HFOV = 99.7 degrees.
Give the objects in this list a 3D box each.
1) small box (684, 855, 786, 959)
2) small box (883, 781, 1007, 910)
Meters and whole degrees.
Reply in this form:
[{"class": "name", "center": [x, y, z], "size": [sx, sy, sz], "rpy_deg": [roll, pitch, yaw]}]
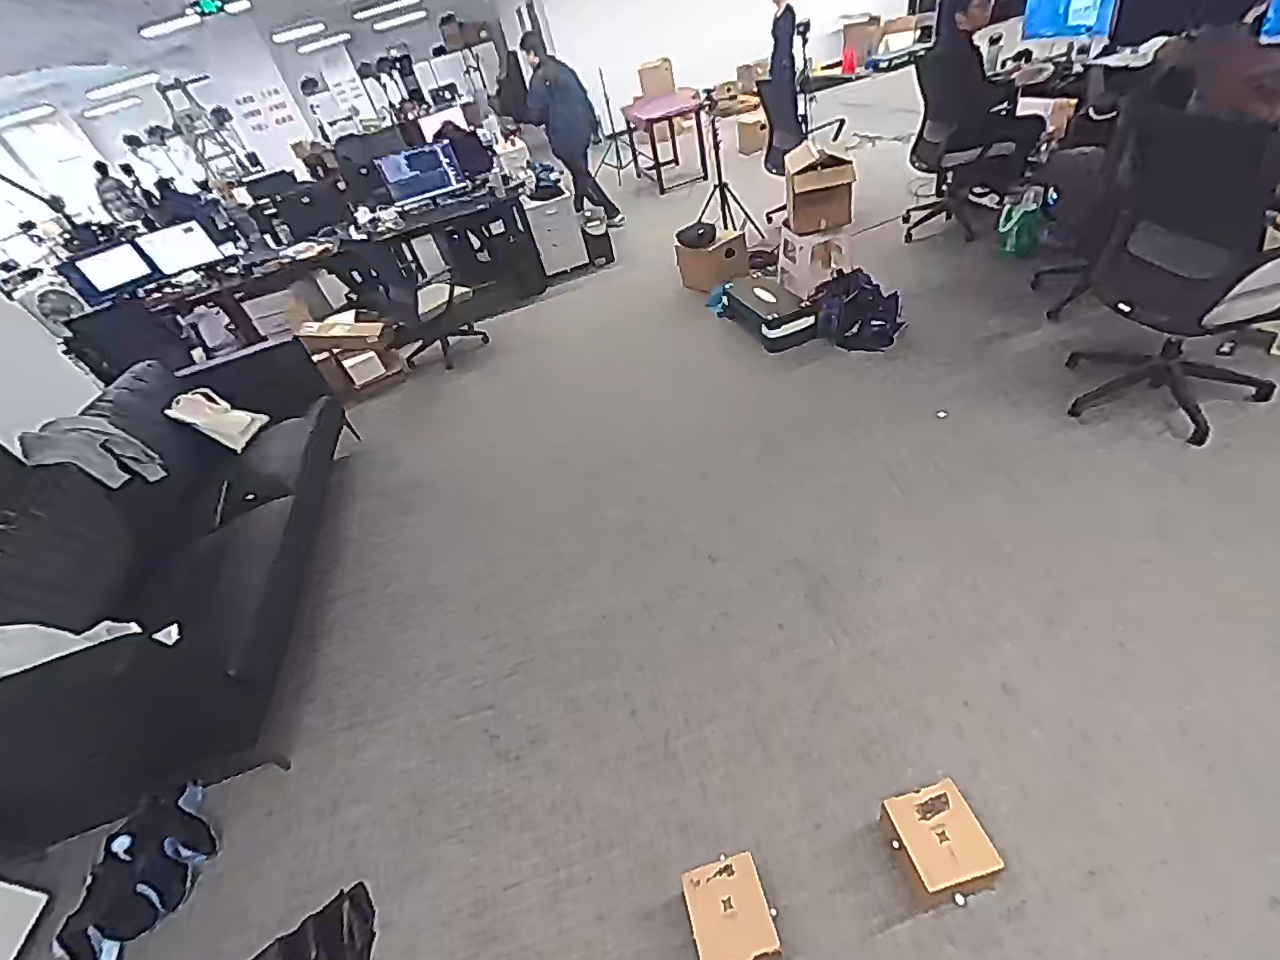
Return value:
[{"class": "small box", "center": [0.209, 0.965, 1.180], "size": [0.168, 0.176, 0.179], "rpy_deg": [-18, 39, -1]}, {"class": "small box", "center": [0.659, 0.809, 1.196], "size": [0.168, 0.176, 0.179], "rpy_deg": [-19, 40, 0]}]
